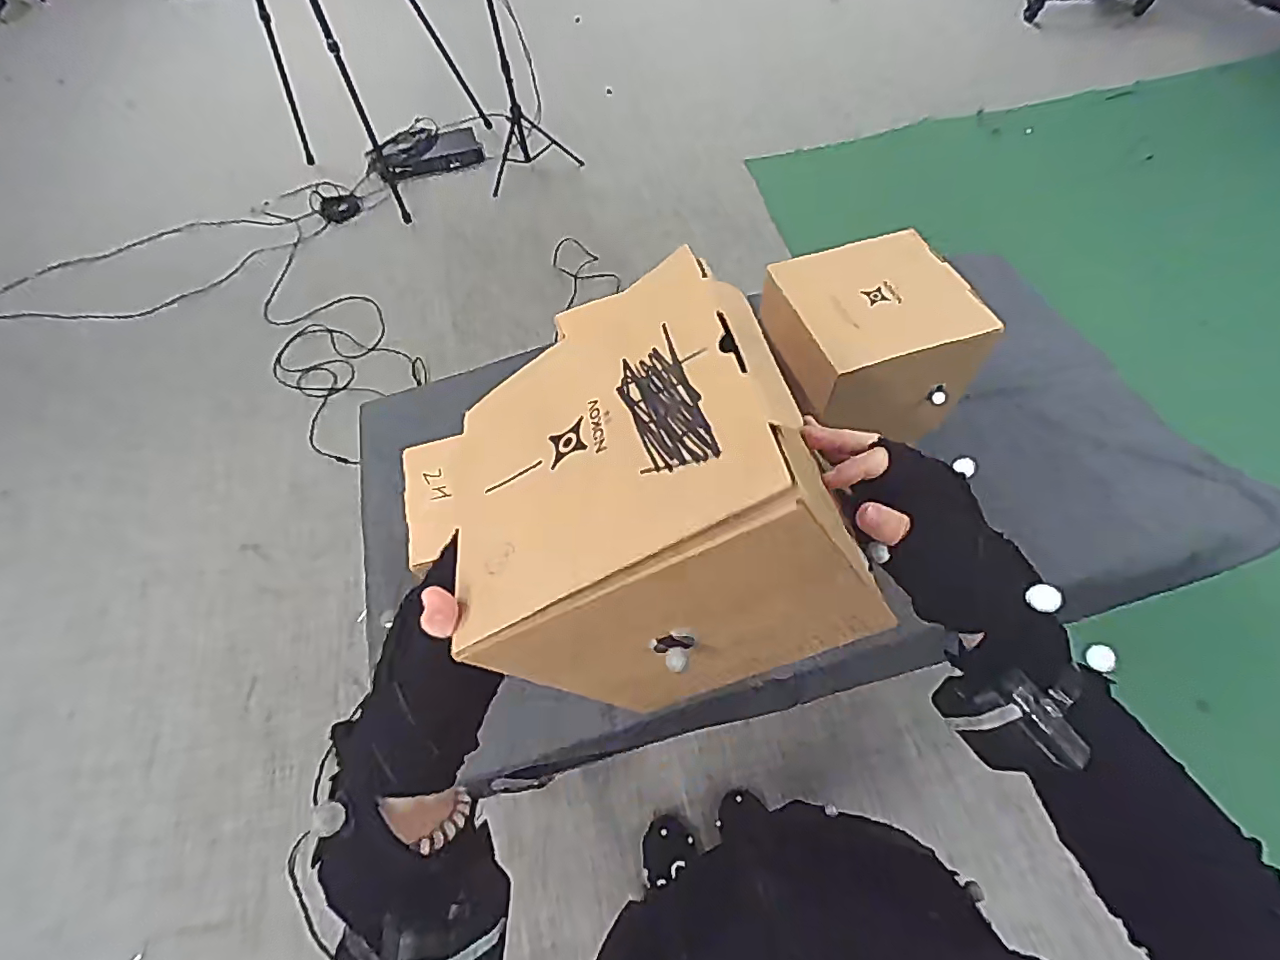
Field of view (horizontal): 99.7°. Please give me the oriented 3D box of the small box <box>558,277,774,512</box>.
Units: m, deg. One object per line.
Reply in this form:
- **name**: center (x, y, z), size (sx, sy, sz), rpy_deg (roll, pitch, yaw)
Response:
- **small box**: center (0.027, -0.086, 0.604), size (0.179, 0.176, 0.168), rpy_deg (-19, 61, -6)
